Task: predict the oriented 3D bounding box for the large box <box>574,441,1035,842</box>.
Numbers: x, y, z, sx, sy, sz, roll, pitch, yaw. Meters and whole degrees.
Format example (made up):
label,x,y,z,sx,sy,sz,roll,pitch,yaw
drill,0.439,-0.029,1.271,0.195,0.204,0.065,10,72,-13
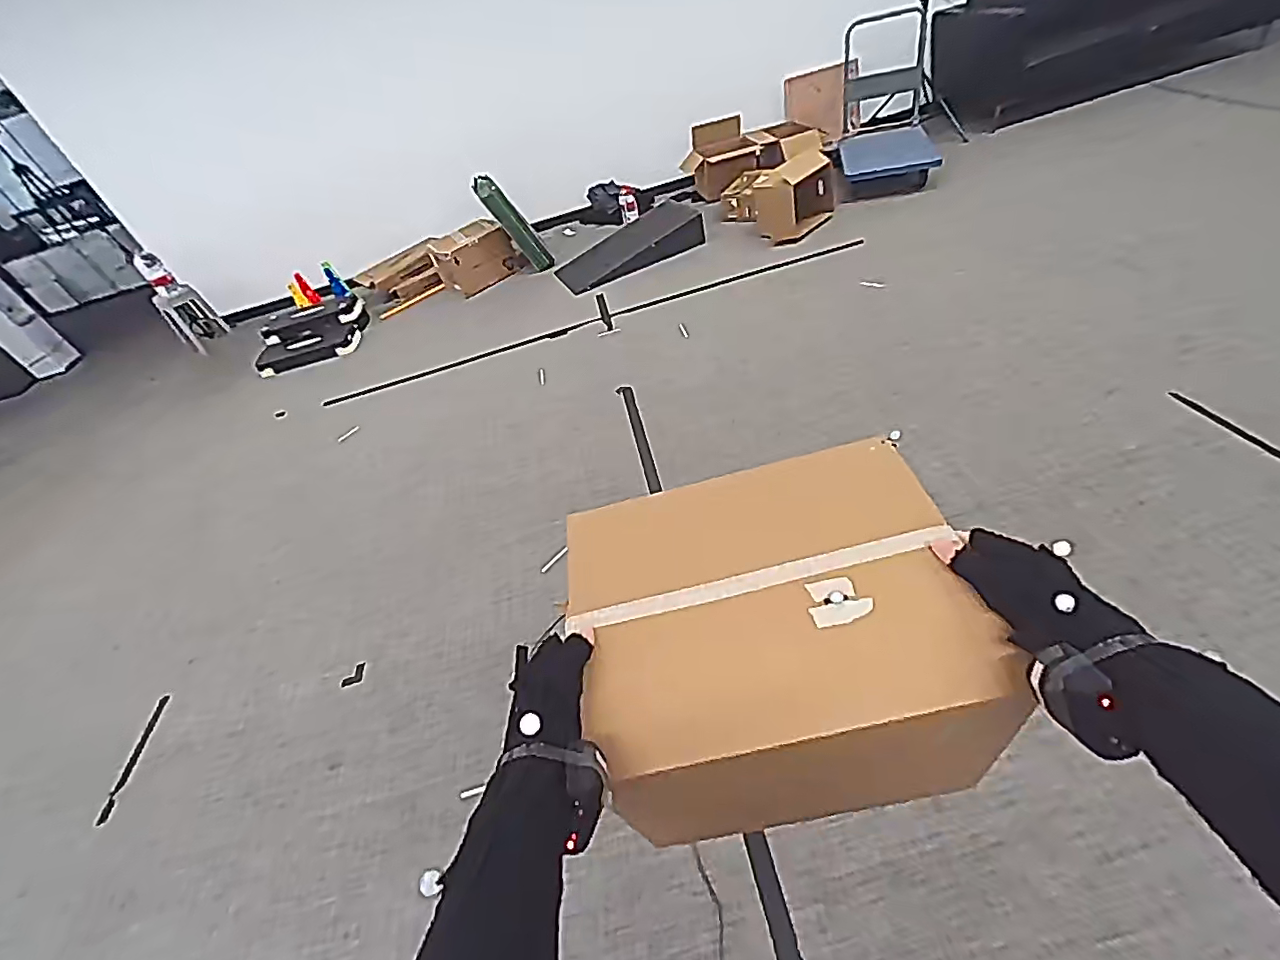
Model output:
label,x,y,z,sx,sy,sz,roll,pitch,yaw
large box,0.158,0.208,0.677,0.408,0.320,0.320,-14,46,4
